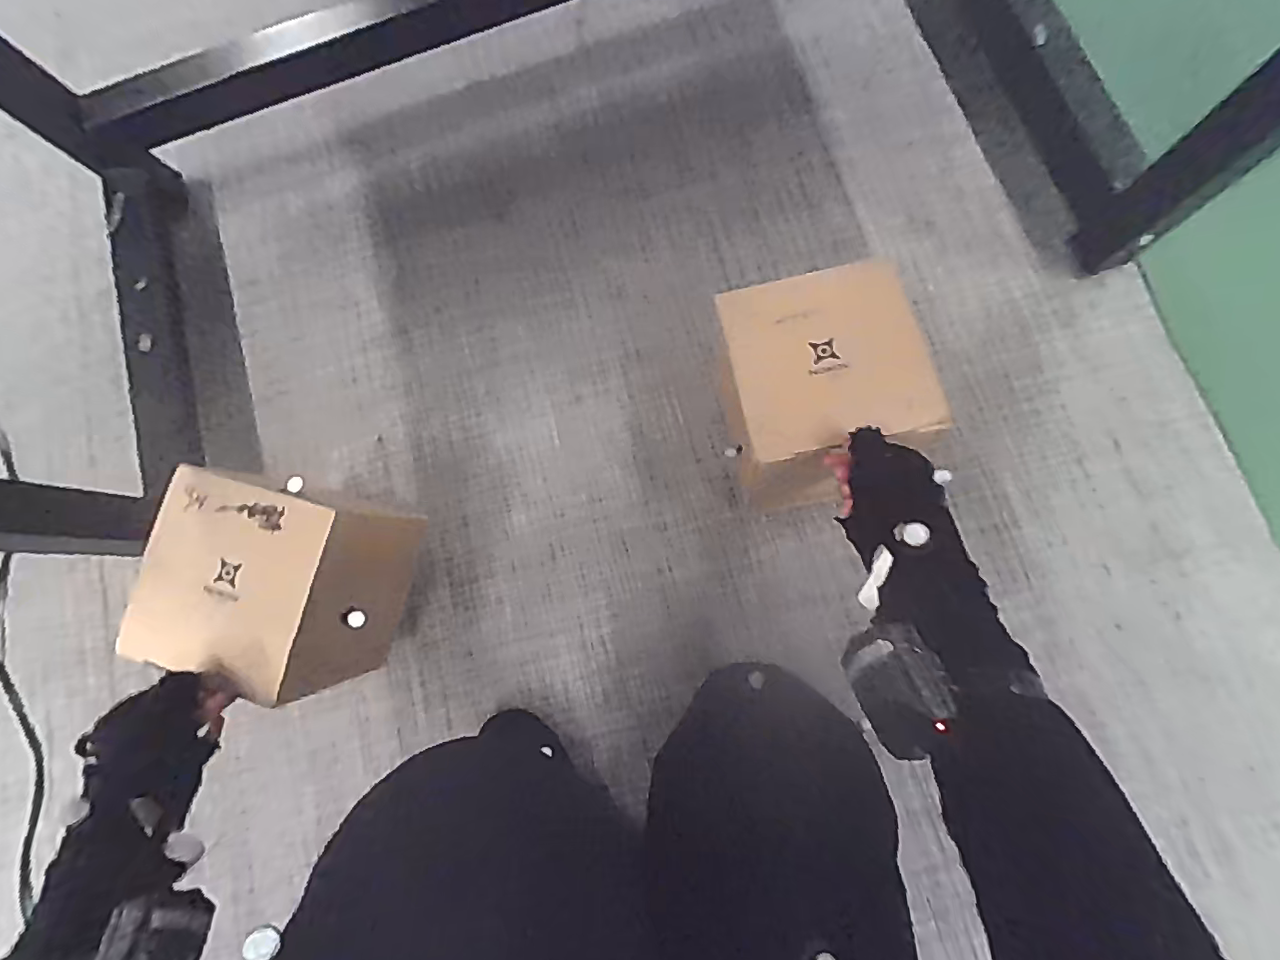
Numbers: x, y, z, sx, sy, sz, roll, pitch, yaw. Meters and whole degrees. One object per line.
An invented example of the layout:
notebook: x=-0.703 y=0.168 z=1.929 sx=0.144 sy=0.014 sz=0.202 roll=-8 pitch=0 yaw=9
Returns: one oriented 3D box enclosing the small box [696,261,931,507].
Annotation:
small box: x=0.159 y=-0.082 z=0.554 sx=0.168 sy=0.176 sz=0.179 roll=-13 pitch=69 yaw=3
